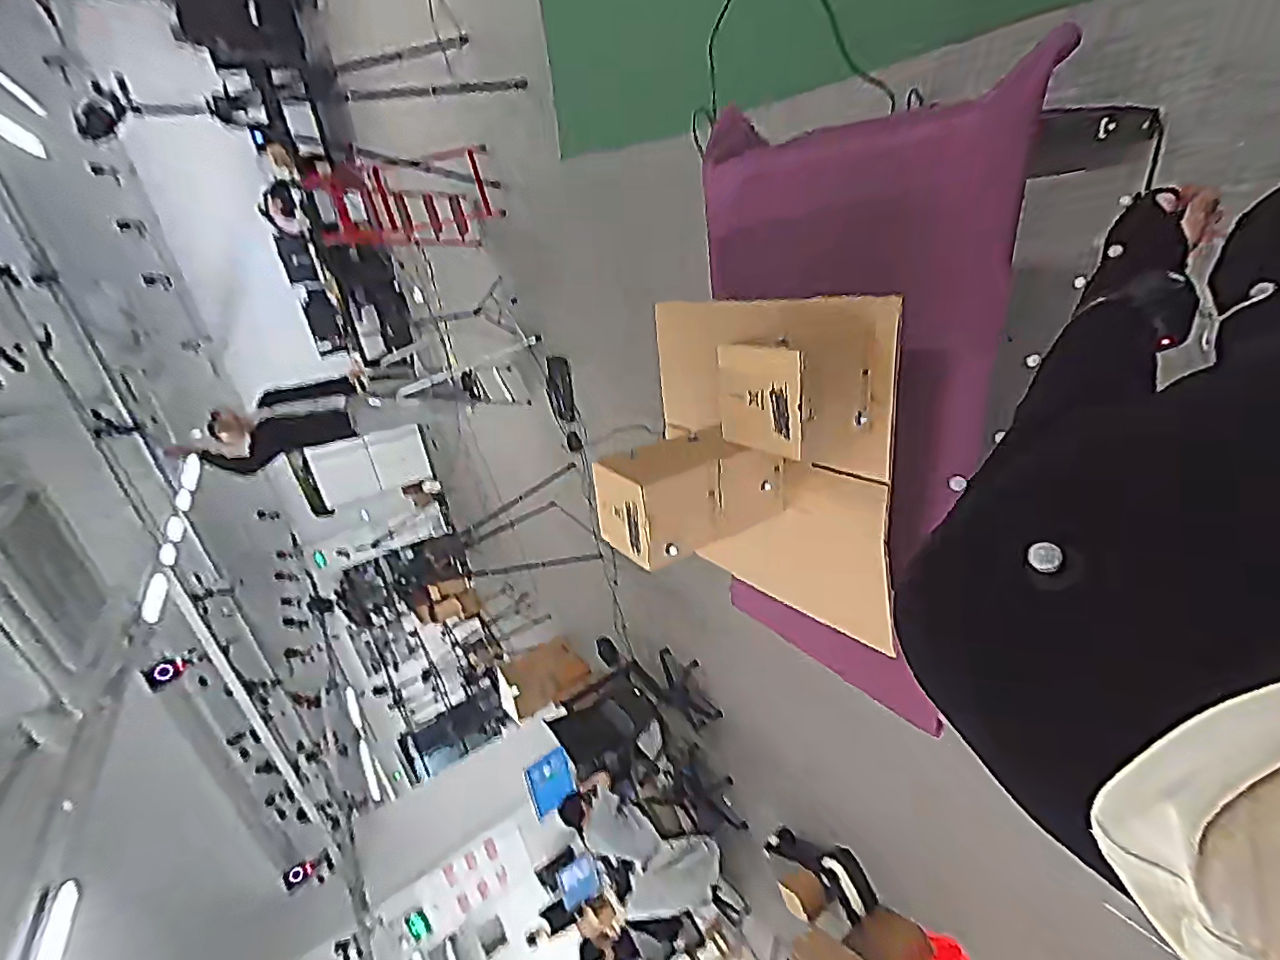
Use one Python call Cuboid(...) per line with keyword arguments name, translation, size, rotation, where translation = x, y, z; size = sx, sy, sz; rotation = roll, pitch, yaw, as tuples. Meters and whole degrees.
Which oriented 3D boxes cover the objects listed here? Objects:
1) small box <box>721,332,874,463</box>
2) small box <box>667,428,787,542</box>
Cuboid(name="small box", translation=(0.255, -0.143, 0.878), size=(0.179, 0.176, 0.168), rotation=(24, 128, 53))
Cuboid(name="small box", translation=(0.175, 0.000, 1.096), size=(0.179, 0.176, 0.168), rotation=(24, 127, 51))
